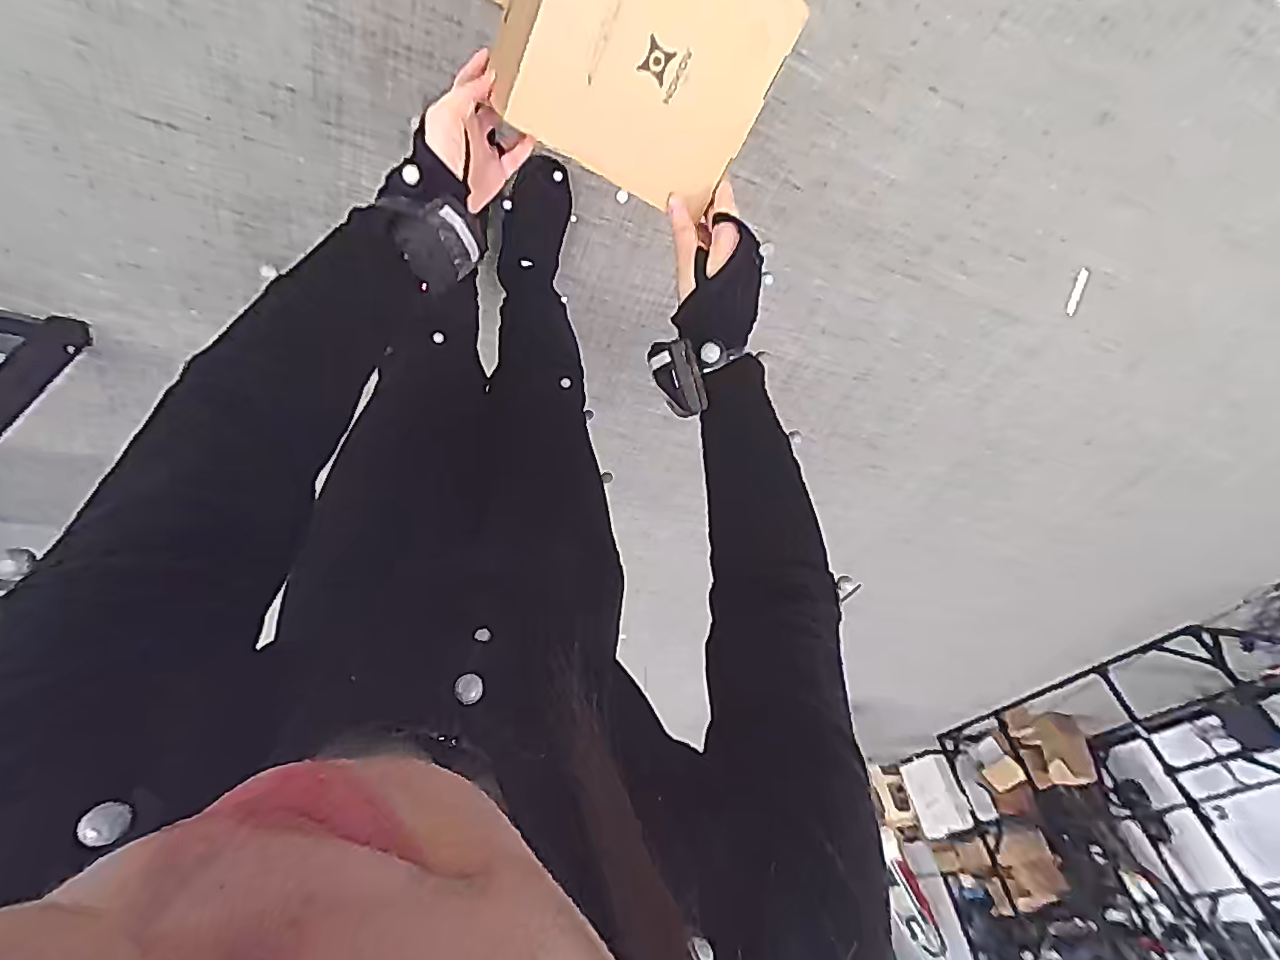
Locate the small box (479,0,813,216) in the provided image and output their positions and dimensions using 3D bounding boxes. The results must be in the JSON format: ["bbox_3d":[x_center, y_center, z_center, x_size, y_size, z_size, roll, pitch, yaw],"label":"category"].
[{"bbox_3d":[-0.011,-0.348,0.424,0.179,0.176,0.168,14,123,-33],"label":"small box"}]
